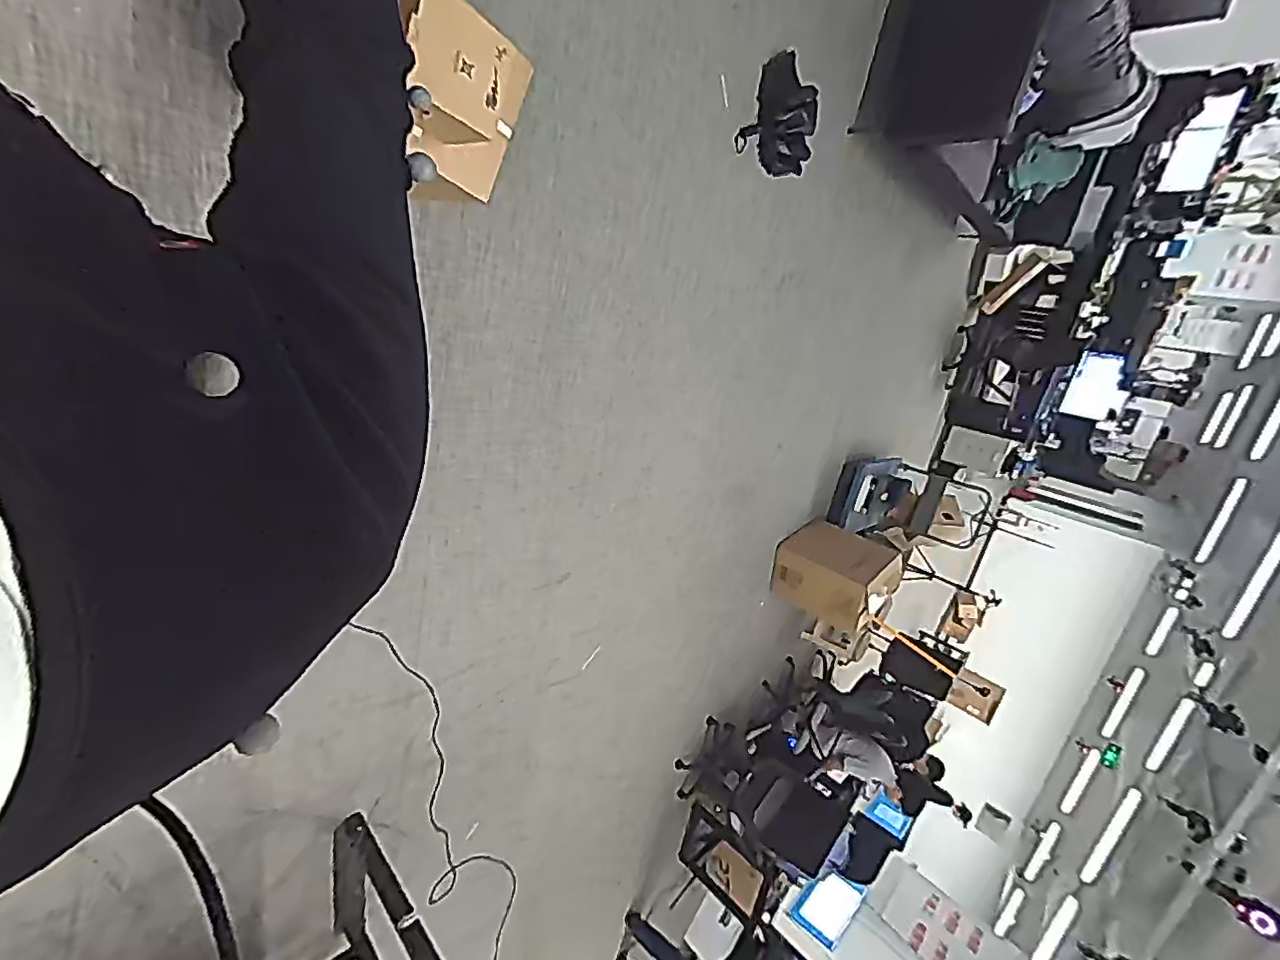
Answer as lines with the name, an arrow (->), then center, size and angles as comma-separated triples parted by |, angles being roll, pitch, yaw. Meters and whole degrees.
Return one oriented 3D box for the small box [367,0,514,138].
small box -> -0.357, -0.730, 0.956 | 0.179, 0.176, 0.168 | 4, 108, -49
